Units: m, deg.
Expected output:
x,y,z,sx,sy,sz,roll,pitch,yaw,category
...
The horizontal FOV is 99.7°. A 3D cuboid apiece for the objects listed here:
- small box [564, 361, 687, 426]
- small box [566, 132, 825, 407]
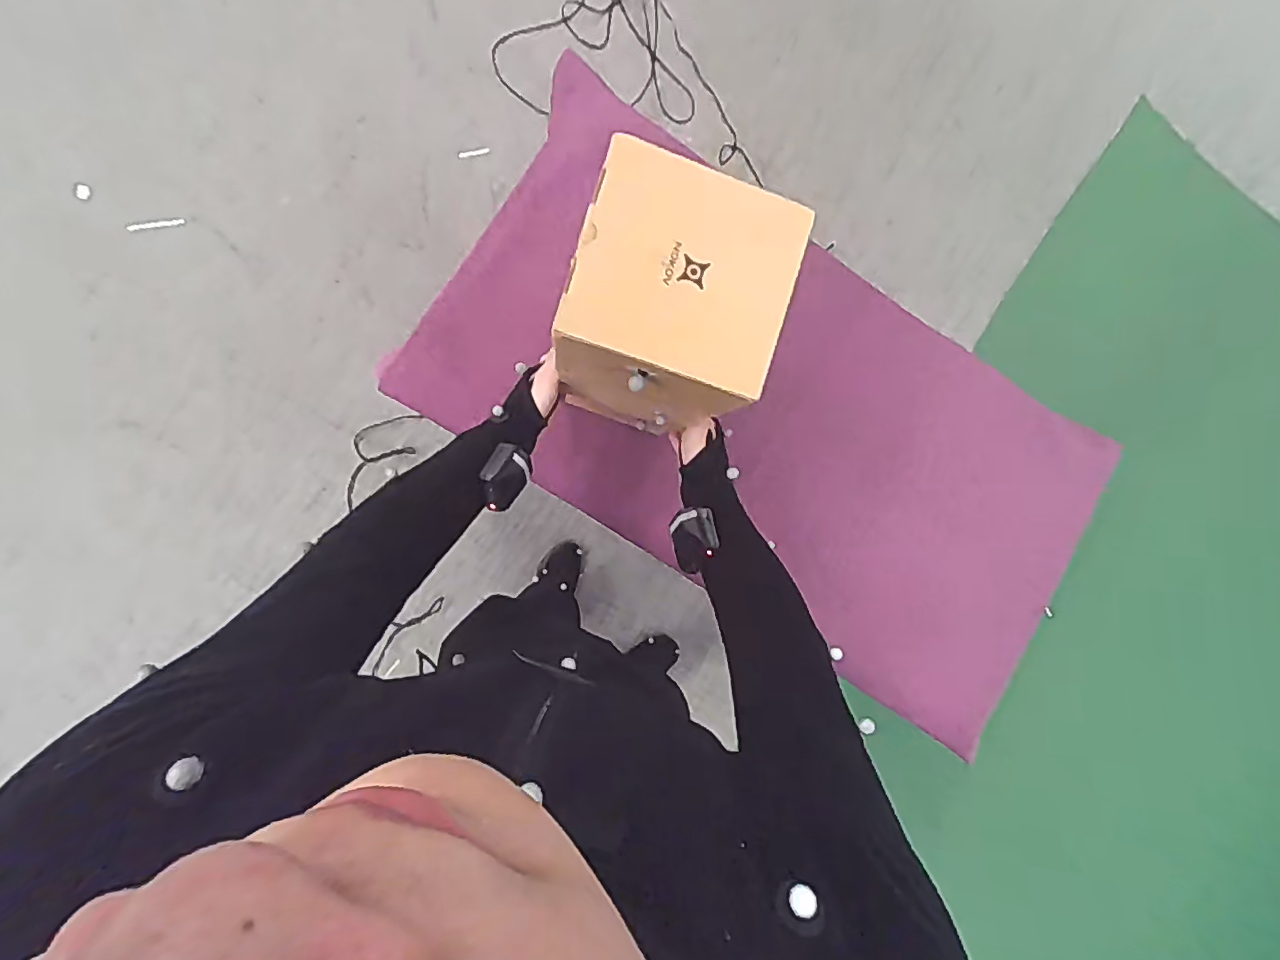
x,y,z,sx,sy,sz,roll,pitch,yaw,category
-0.009,-0.187,0.833,0.179,0.176,0.168,19,88,-8,small box
0.037,-0.173,0.510,0.179,0.176,0.168,17,89,-8,small box
